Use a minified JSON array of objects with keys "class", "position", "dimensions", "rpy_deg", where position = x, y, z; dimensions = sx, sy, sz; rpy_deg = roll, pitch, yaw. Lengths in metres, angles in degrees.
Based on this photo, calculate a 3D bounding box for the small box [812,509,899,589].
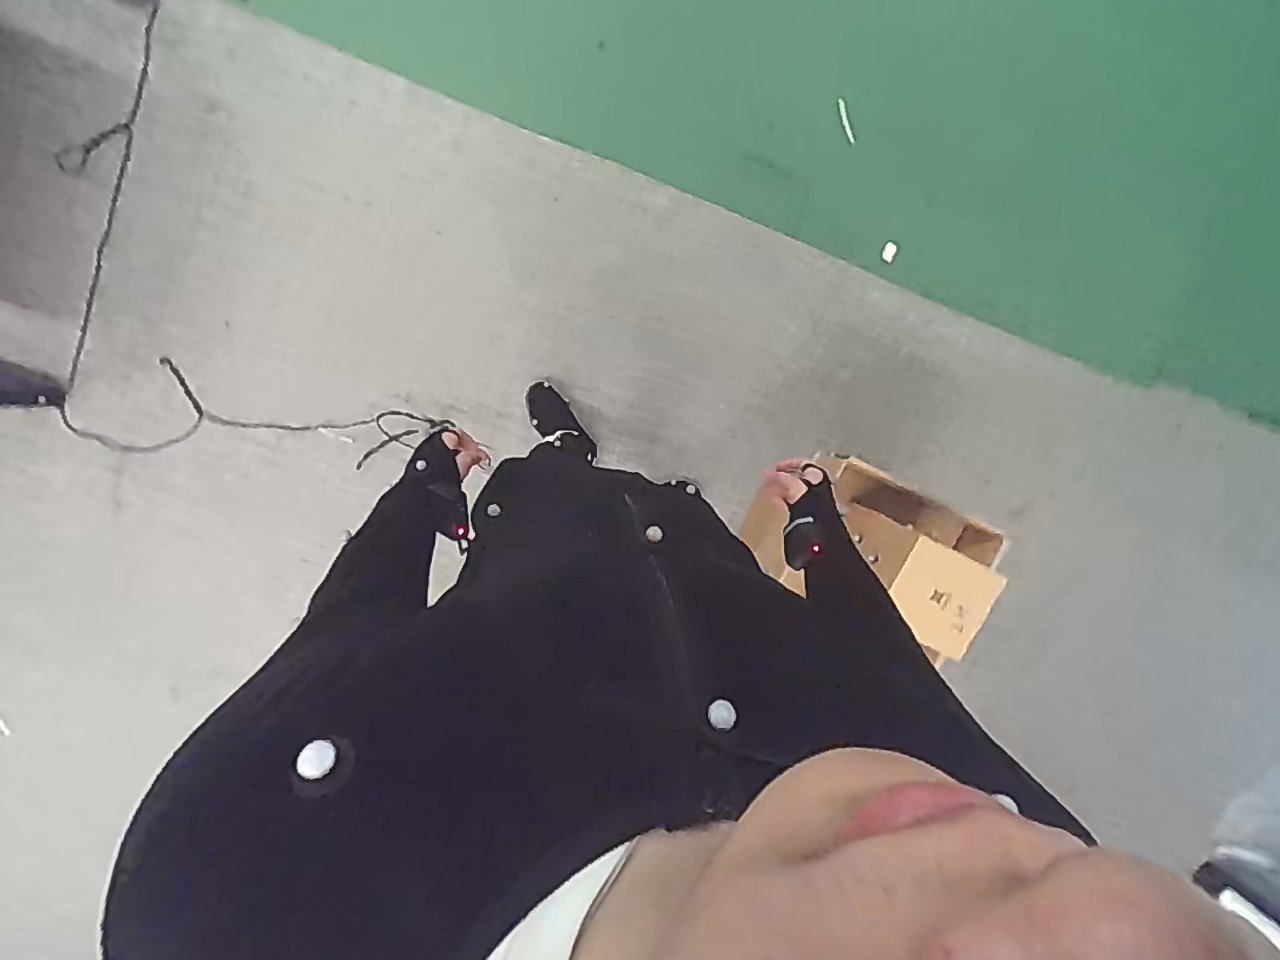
[{"class":"small box","position":[0.504,0.176,1.154],"dimensions":[0.179,0.176,0.168],"rpy_deg":[28,95,-5]}]

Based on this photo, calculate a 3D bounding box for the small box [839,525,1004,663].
[{"class":"small box","position":[0.499,0.196,0.991],"dimensions":[0.179,0.176,0.168],"rpy_deg":[27,97,-4]}]
